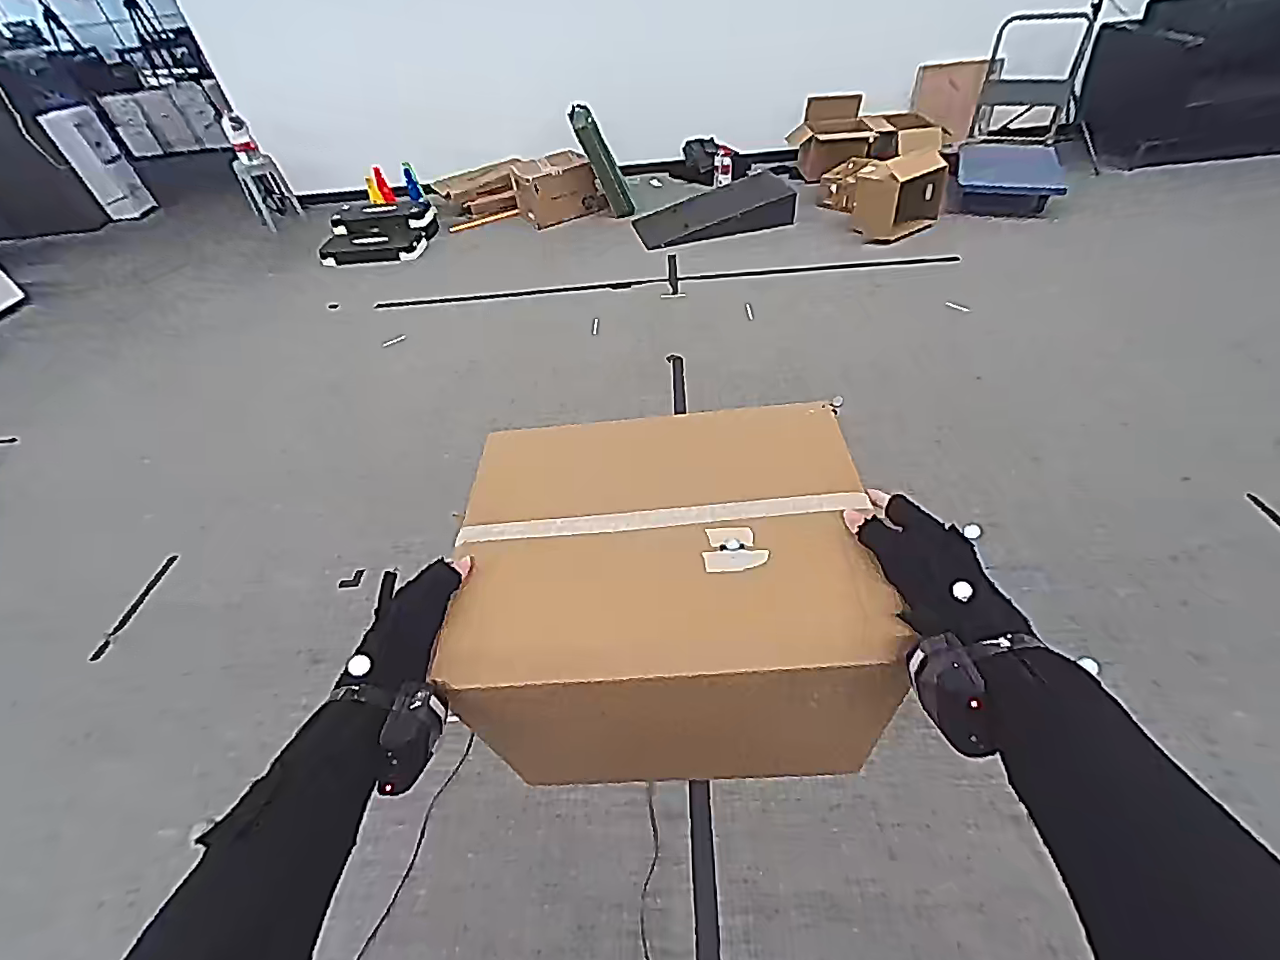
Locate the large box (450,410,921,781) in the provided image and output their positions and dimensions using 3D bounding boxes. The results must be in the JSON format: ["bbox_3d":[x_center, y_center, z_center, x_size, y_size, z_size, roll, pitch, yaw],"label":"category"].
[{"bbox_3d":[0.043,0.146,0.655,0.408,0.320,0.320,-5,47,4],"label":"large box"}]
